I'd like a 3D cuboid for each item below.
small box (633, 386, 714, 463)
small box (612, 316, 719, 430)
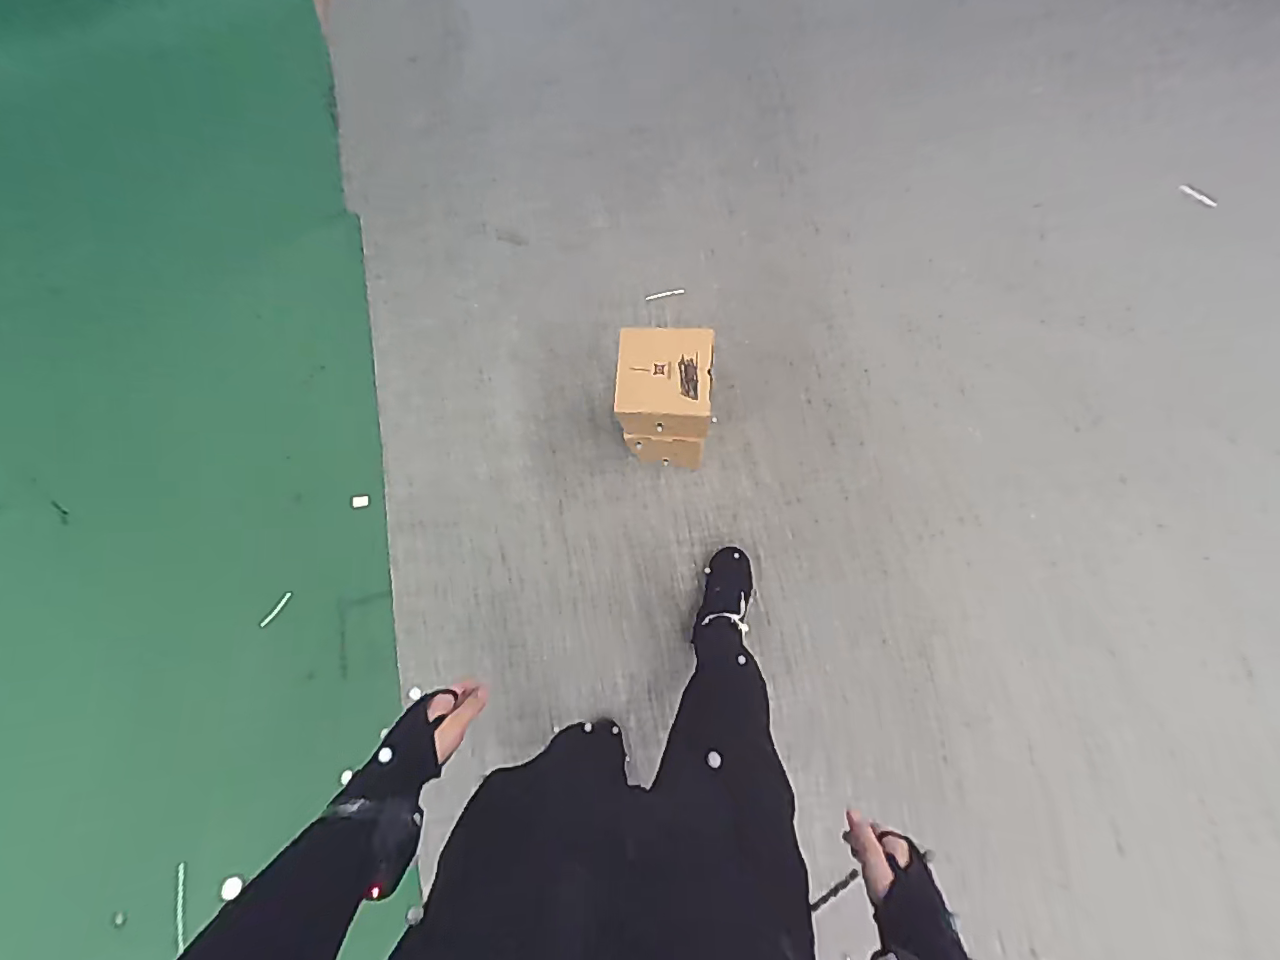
[{"bbox_3d":[0.088,-0.150,1.358,0.168,0.176,0.179,12,82,7],"label":"small box"},{"bbox_3d":[0.053,-0.197,1.035,0.179,0.176,0.168,5,82,8],"label":"small box"}]
